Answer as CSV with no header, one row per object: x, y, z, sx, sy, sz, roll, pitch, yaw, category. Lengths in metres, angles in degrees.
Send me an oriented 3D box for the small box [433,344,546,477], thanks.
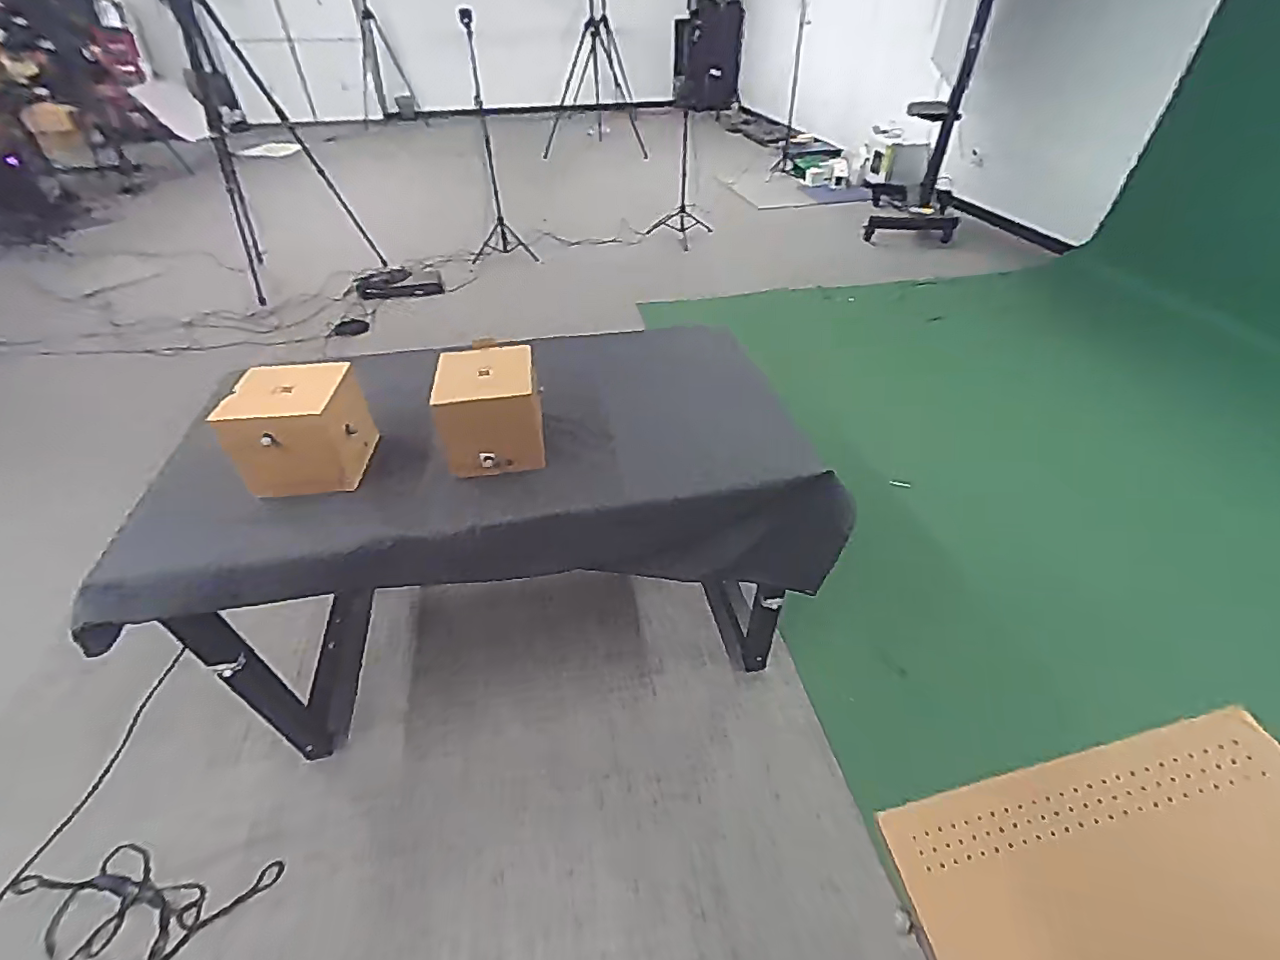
-0.267,-0.129,0.990,0.168,0.176,0.179,-8,43,-7,small box

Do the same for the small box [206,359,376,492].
-0.590,-0.094,0.948,0.179,0.176,0.168,-4,42,-5,small box
